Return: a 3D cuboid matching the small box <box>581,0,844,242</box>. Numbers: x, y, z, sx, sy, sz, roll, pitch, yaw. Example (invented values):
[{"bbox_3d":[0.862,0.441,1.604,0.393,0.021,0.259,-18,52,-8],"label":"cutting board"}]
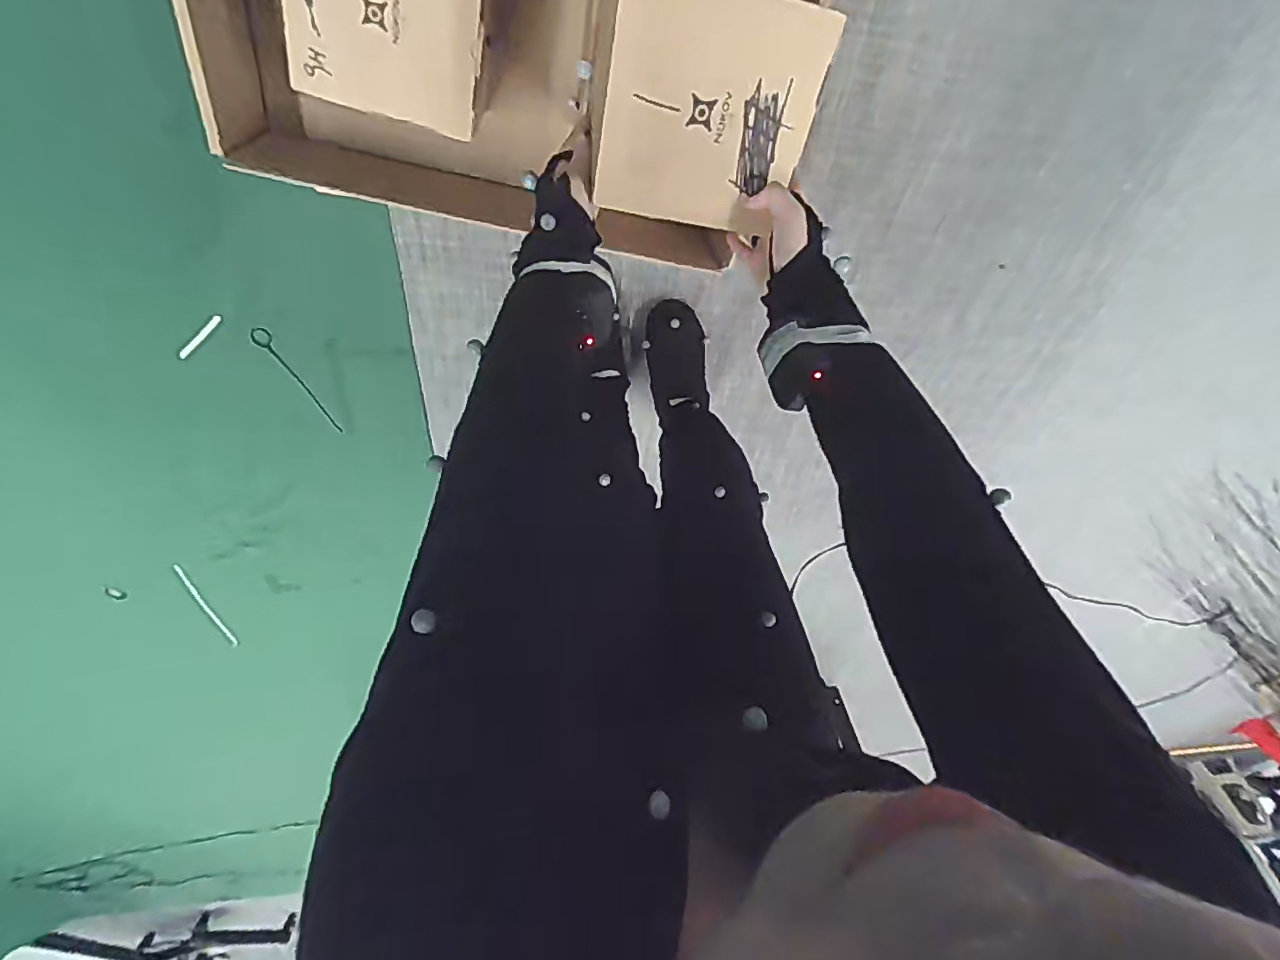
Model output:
[{"bbox_3d":[0.046,-0.342,0.500,0.179,0.176,0.168,4,129,-13],"label":"small box"}]
